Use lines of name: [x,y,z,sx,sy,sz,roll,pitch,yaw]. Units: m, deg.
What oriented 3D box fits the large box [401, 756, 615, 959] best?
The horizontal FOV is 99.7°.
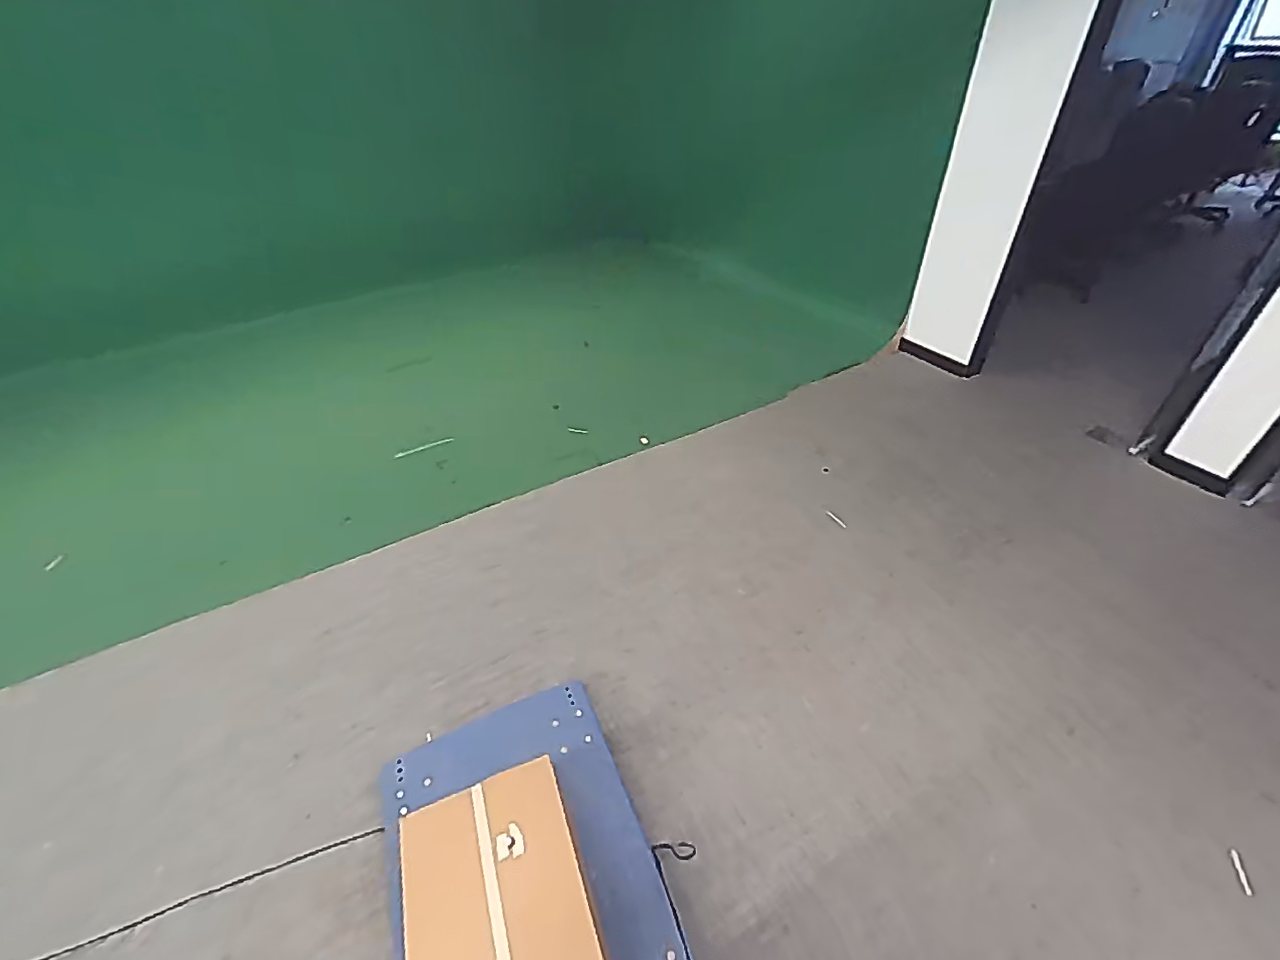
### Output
large box: [-0.248,0.855,1.062,0.320,0.320,0.408,-16,41,-15]
